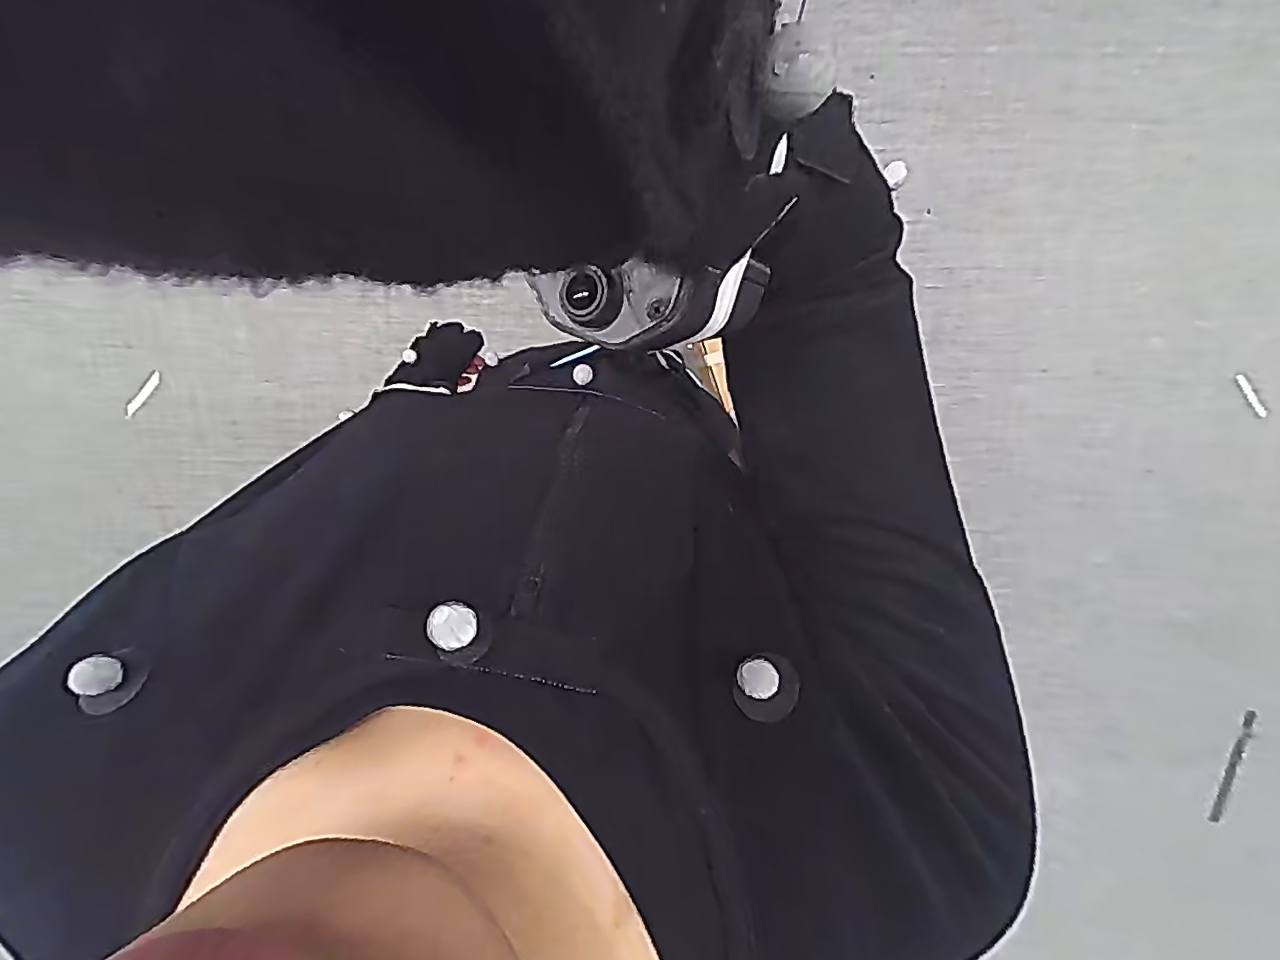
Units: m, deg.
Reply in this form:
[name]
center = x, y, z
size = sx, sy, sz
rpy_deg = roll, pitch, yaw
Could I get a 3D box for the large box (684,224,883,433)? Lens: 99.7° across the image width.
[large box]
center = 0.292, -0.319, 1.210
size = 0.320, 0.408, 0.320
rpy_deg = -17, 101, 8
